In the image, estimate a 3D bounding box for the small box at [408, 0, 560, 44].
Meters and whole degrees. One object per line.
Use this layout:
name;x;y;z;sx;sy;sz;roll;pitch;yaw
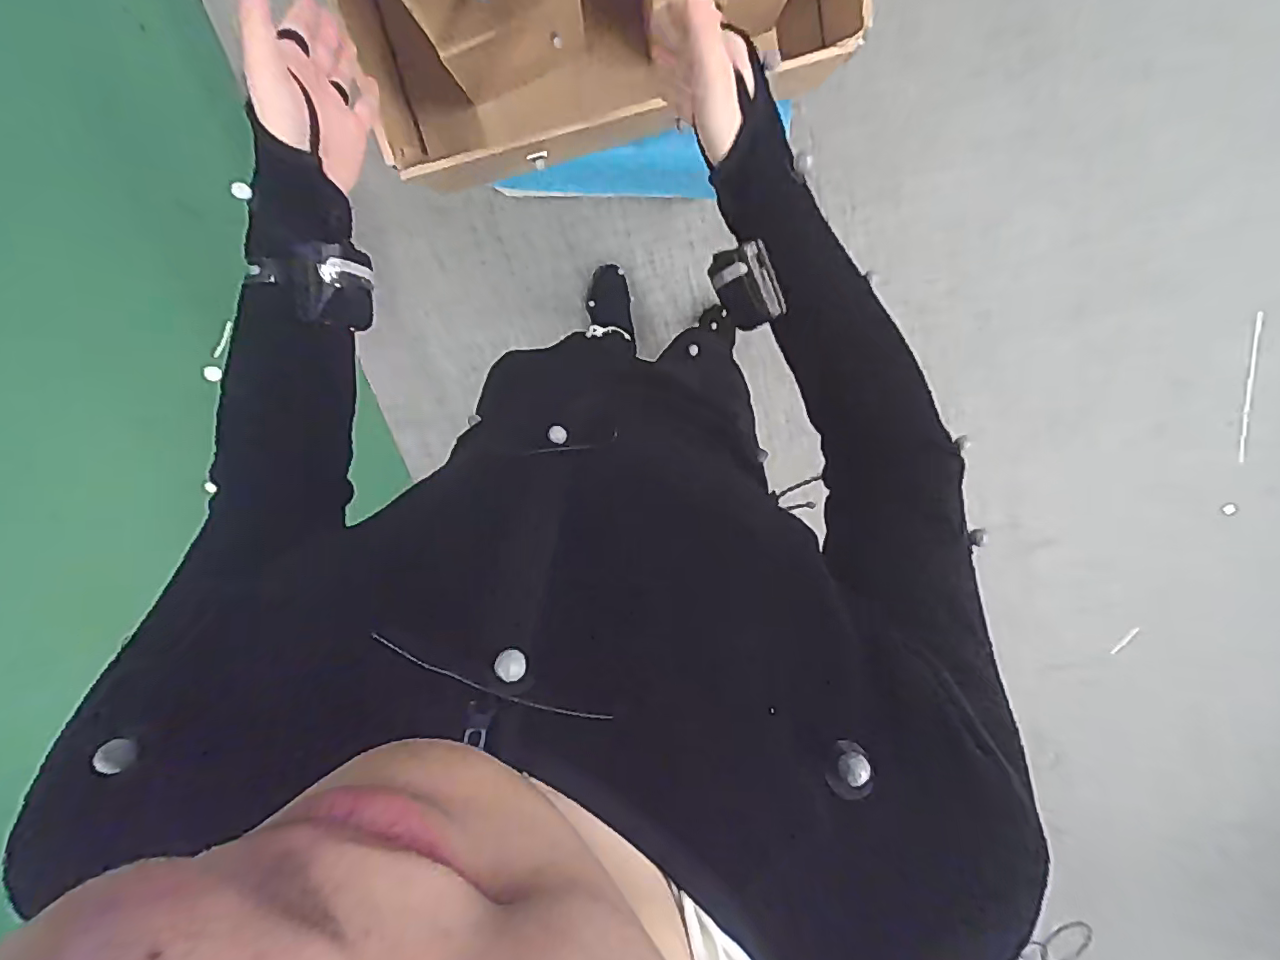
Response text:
small box;-0.169;-0.557;0.505;0.179;0.176;0.168;-19;110;5
